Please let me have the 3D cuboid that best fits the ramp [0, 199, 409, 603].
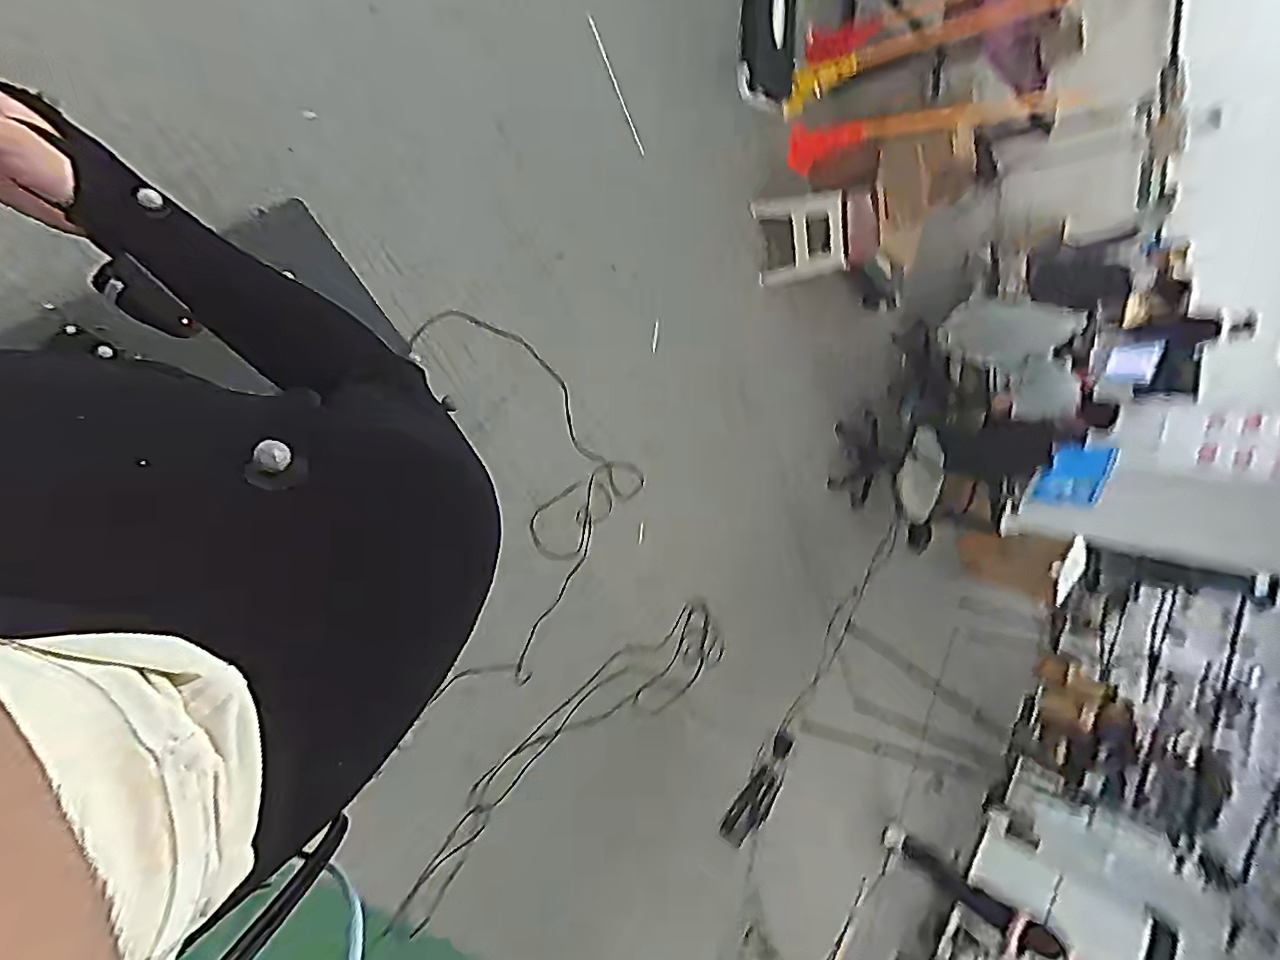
[{"bbox_3d":[-1.073,-0.245,1.300,0.991,0.206,0.509,-48,125,-24],"label":"ramp"}]
